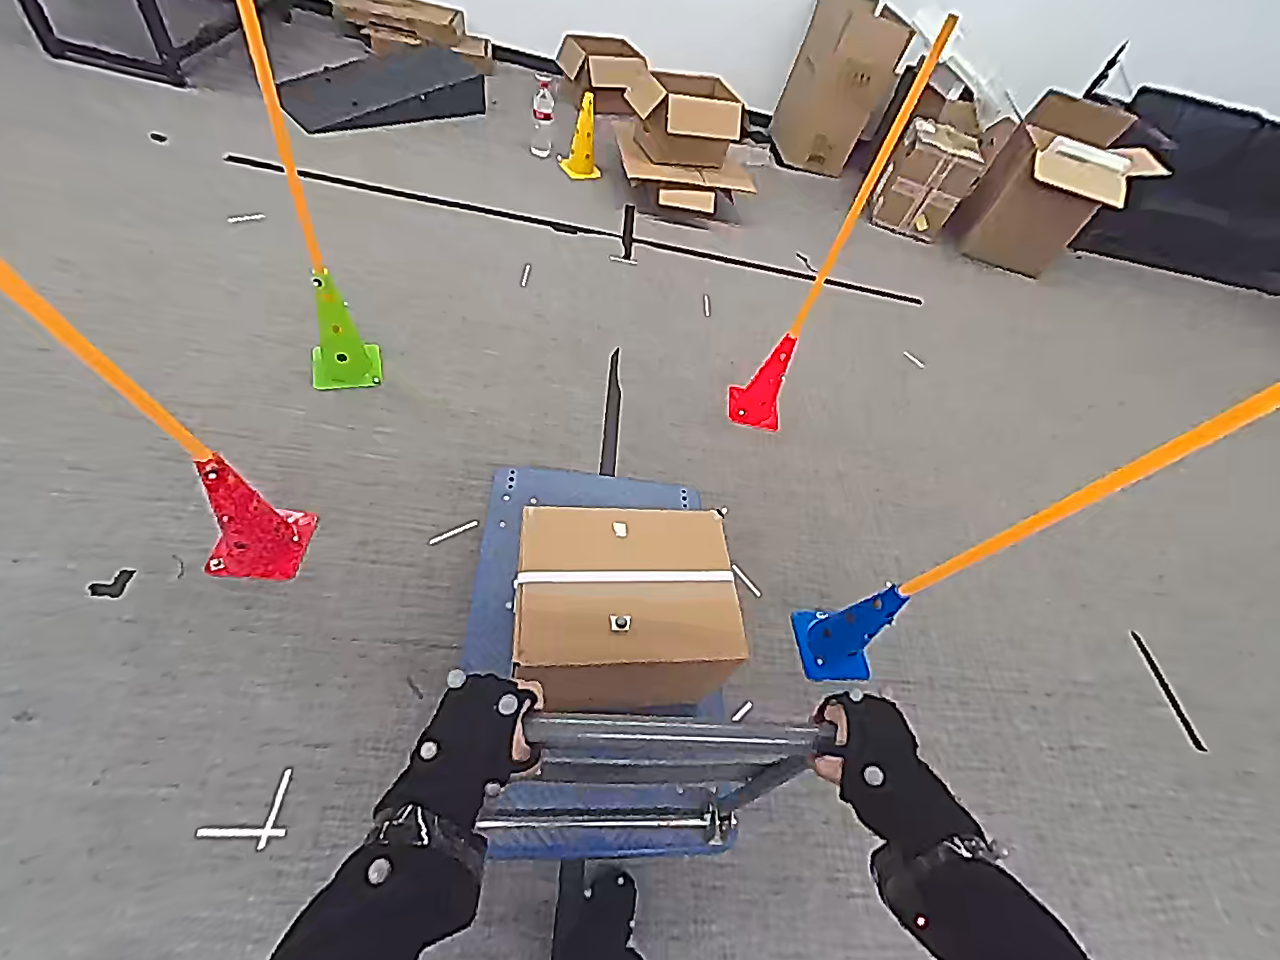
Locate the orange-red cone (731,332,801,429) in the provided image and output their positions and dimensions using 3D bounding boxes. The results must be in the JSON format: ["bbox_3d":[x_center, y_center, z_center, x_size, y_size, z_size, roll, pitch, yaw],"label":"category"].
[{"bbox_3d":[0.485,-0.383,1.944,0.199,0.360,0.198,14,52,-6],"label":"orange-red cone"}]

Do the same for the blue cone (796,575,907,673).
[{"bbox_3d":[0.587,0.364,1.432,0.193,0.380,0.192,5,52,-12],"label":"blue cone"}]
